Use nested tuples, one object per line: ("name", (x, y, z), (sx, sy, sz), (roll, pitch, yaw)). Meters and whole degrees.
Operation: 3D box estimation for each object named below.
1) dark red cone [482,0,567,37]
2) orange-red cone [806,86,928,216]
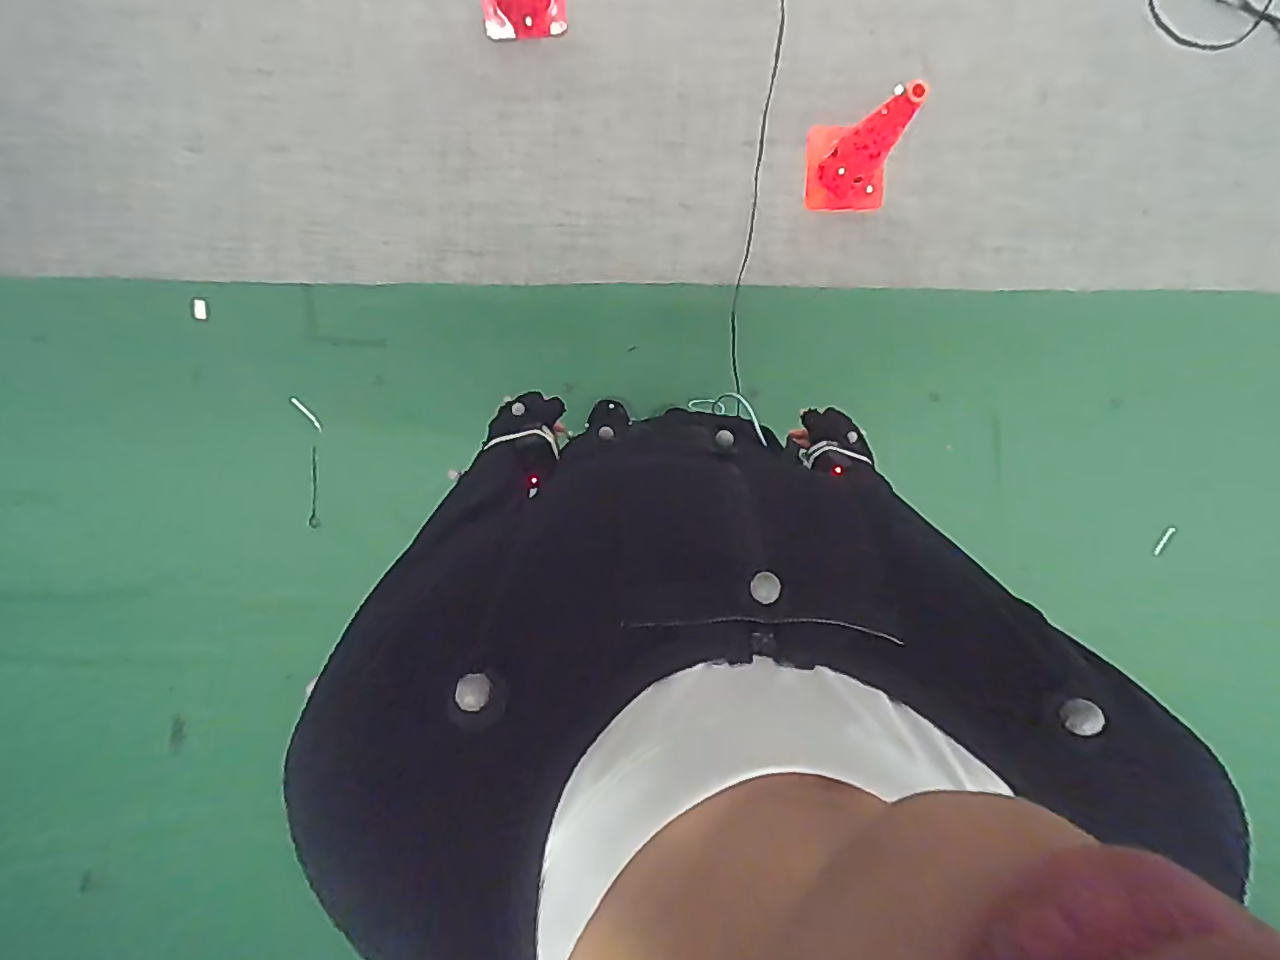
("dark red cone", (-0.276, -1.141, 1.121), (0.202, 0.394, 0.201), (-5, 99, 0))
("orange-red cone", (0.526, -0.757, 1.203), (0.198, 0.360, 0.199), (1, 97, -2))
